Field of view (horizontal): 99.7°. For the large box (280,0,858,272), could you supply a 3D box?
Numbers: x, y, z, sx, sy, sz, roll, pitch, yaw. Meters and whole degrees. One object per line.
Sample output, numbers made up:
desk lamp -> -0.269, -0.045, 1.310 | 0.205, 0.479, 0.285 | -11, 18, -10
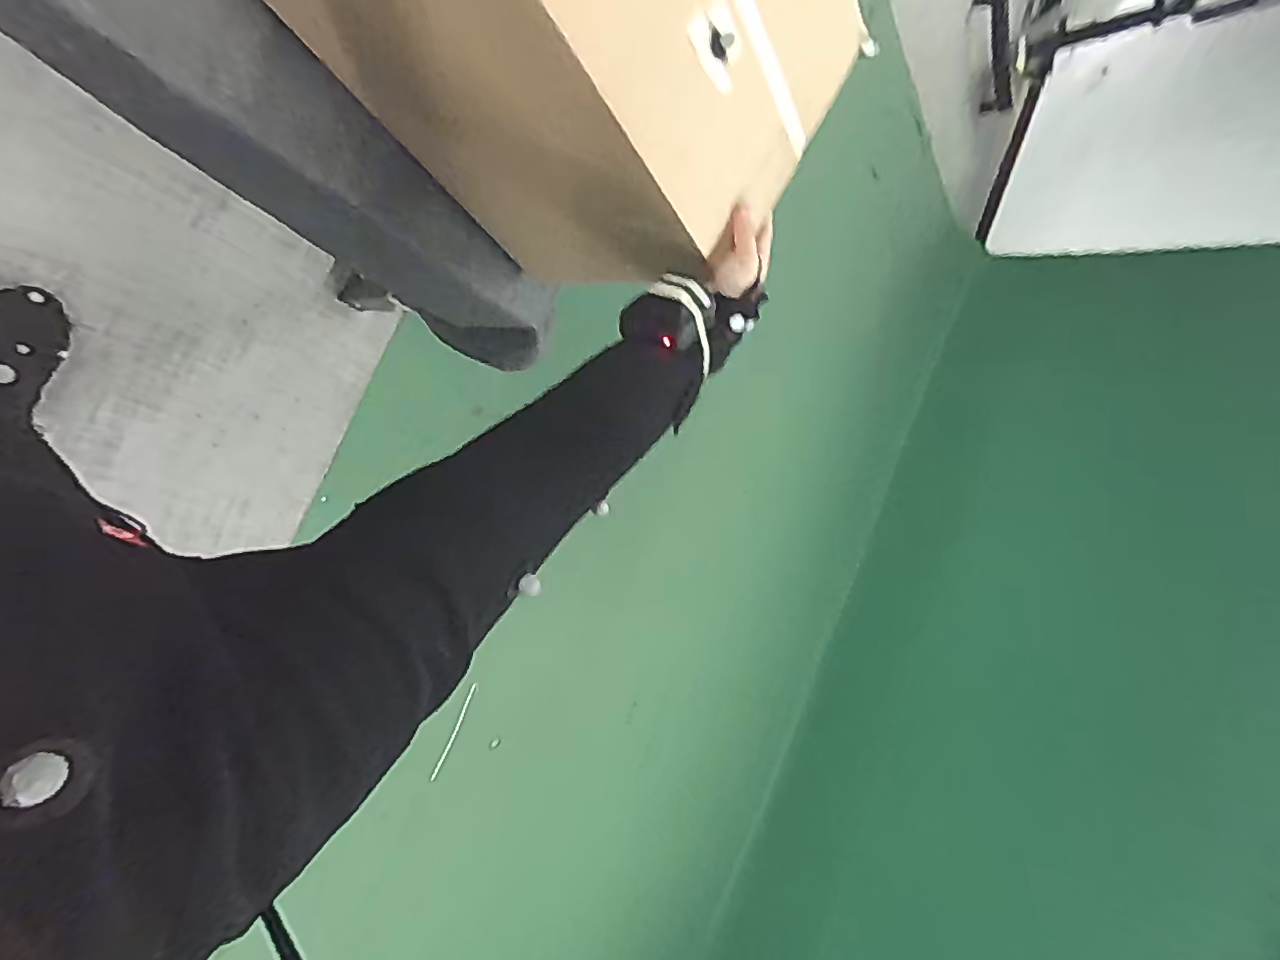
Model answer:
large box -> -0.061, -0.443, 0.476 | 0.408, 0.320, 0.320 | 39, 78, -47
